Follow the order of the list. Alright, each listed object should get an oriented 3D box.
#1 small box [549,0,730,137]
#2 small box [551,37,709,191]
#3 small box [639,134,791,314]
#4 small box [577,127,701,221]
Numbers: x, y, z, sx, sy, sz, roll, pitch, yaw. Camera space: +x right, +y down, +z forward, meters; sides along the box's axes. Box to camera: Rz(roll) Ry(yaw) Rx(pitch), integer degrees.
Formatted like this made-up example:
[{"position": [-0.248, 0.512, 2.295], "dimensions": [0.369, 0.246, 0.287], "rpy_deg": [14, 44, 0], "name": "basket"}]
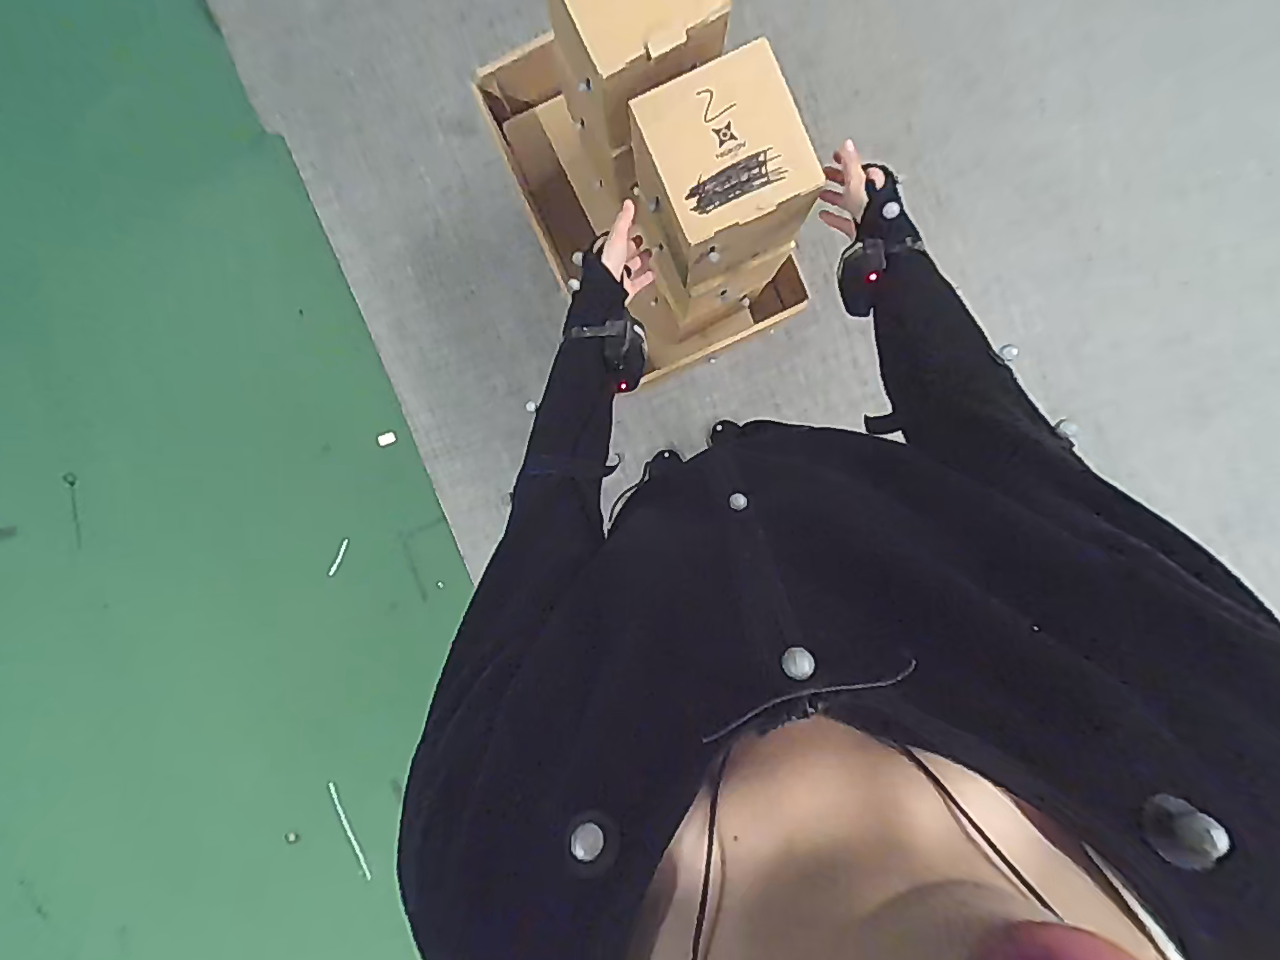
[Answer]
[{"position": [-0.007, -0.567, 0.668], "dimensions": [0.168, 0.176, 0.179], "rpy_deg": [-26, 95, 3], "name": "small box"}, {"position": [-0.011, -0.580, 0.831], "dimensions": [0.168, 0.176, 0.179], "rpy_deg": [-29, 94, 4], "name": "small box"}, {"position": [0.110, -0.376, 0.838], "dimensions": [0.168, 0.176, 0.179], "rpy_deg": [-25, 92, 3], "name": "small box"}, {"position": [-0.004, -0.606, 0.992], "dimensions": [0.168, 0.176, 0.179], "rpy_deg": [-28, 96, 3], "name": "small box"}]
